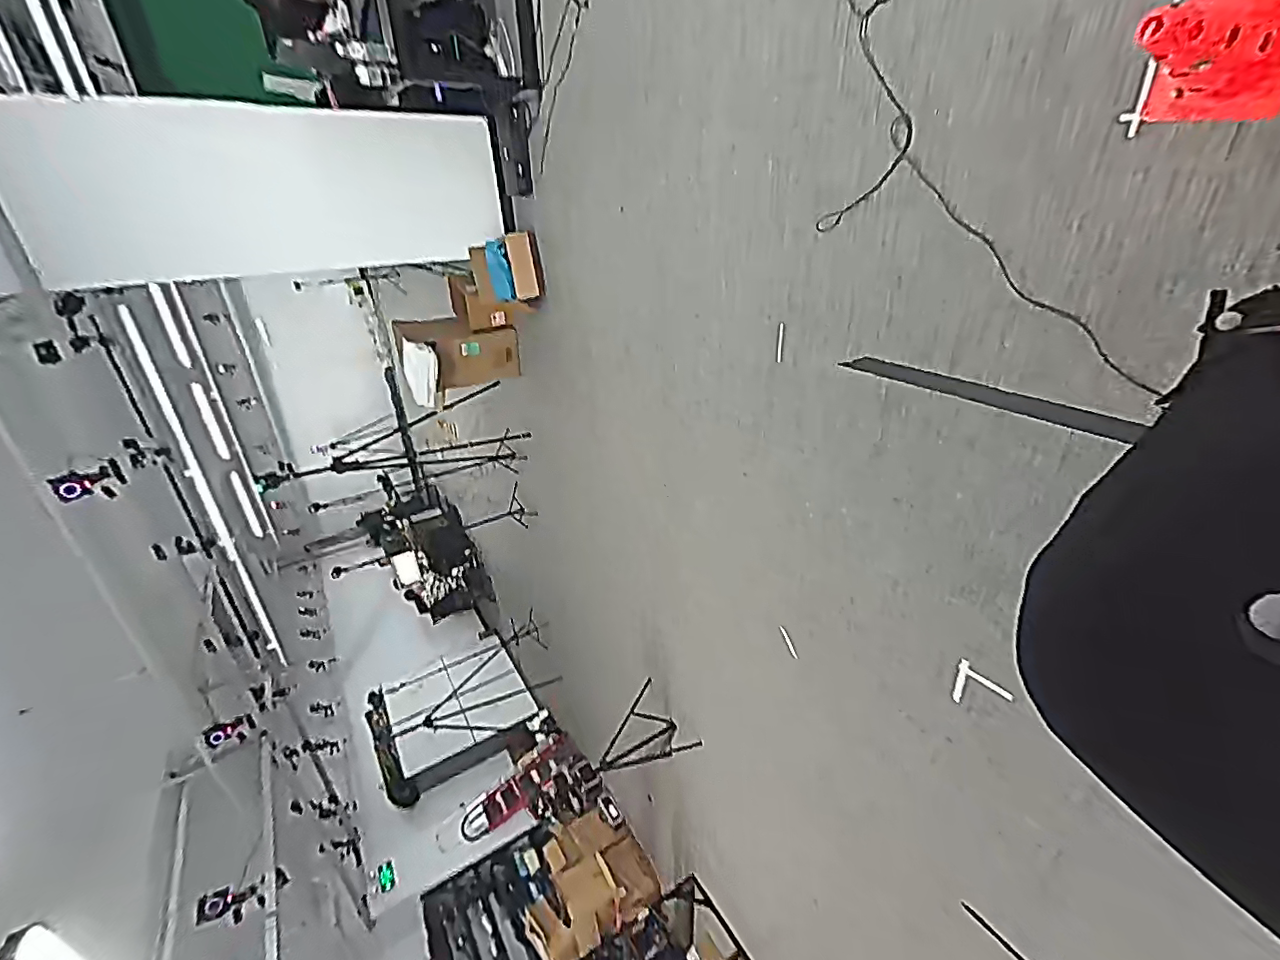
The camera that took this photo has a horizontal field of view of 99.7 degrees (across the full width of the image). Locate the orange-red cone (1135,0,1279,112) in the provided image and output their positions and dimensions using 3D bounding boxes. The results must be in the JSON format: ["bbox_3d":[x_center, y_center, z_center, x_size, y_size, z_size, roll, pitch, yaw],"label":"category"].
[{"bbox_3d":[0.858,-0.689,0.830,0.199,0.360,0.198,41,140,43],"label":"orange-red cone"}]
